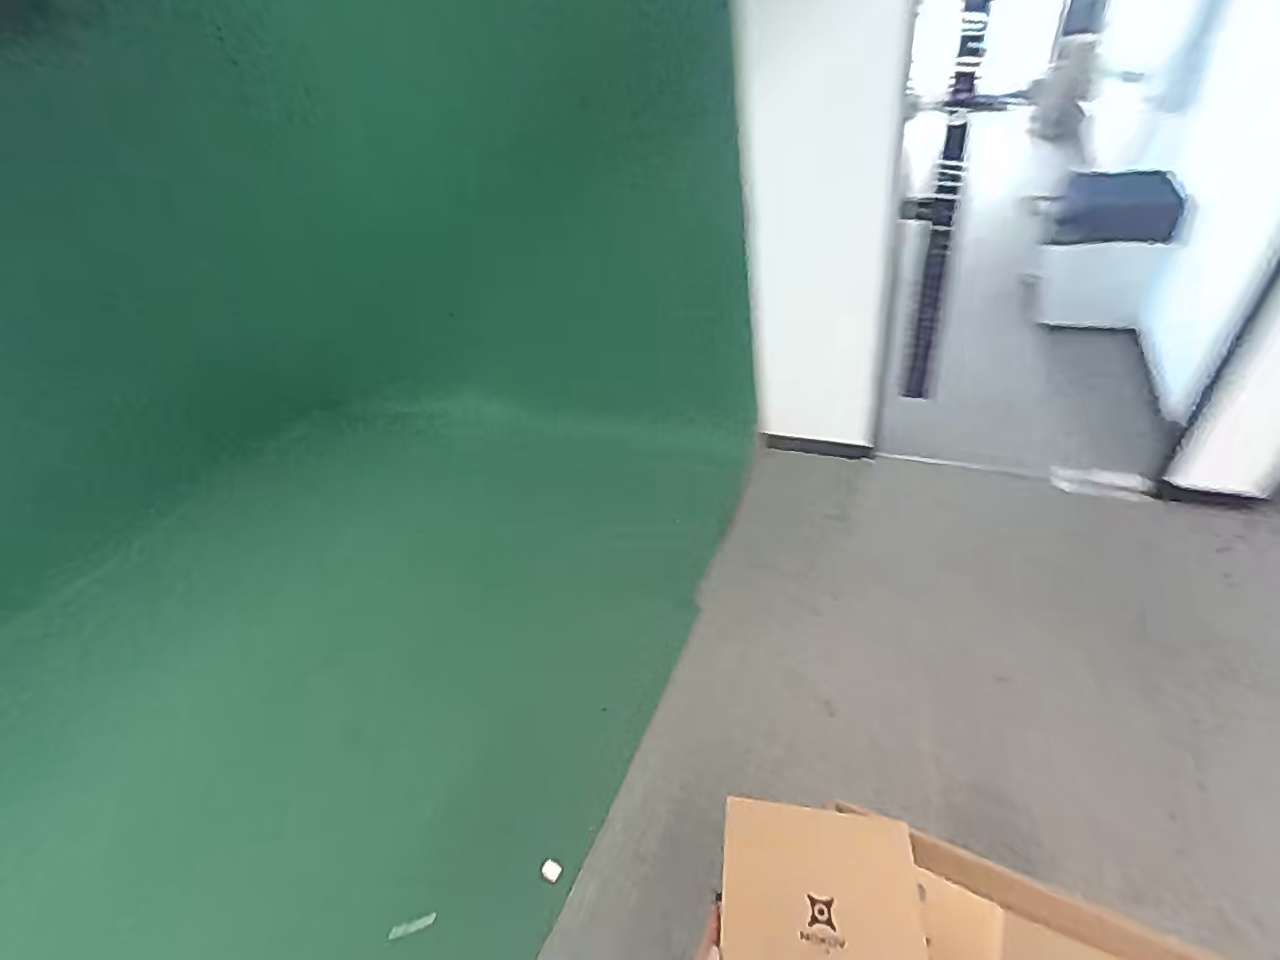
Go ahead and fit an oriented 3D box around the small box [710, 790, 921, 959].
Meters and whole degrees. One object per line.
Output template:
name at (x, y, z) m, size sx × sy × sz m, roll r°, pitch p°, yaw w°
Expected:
small box at (0.153, 0.424, 0.510) m, size 0.168 × 0.176 × 0.179 m, roll 3°, pitch 47°, yaw 10°
